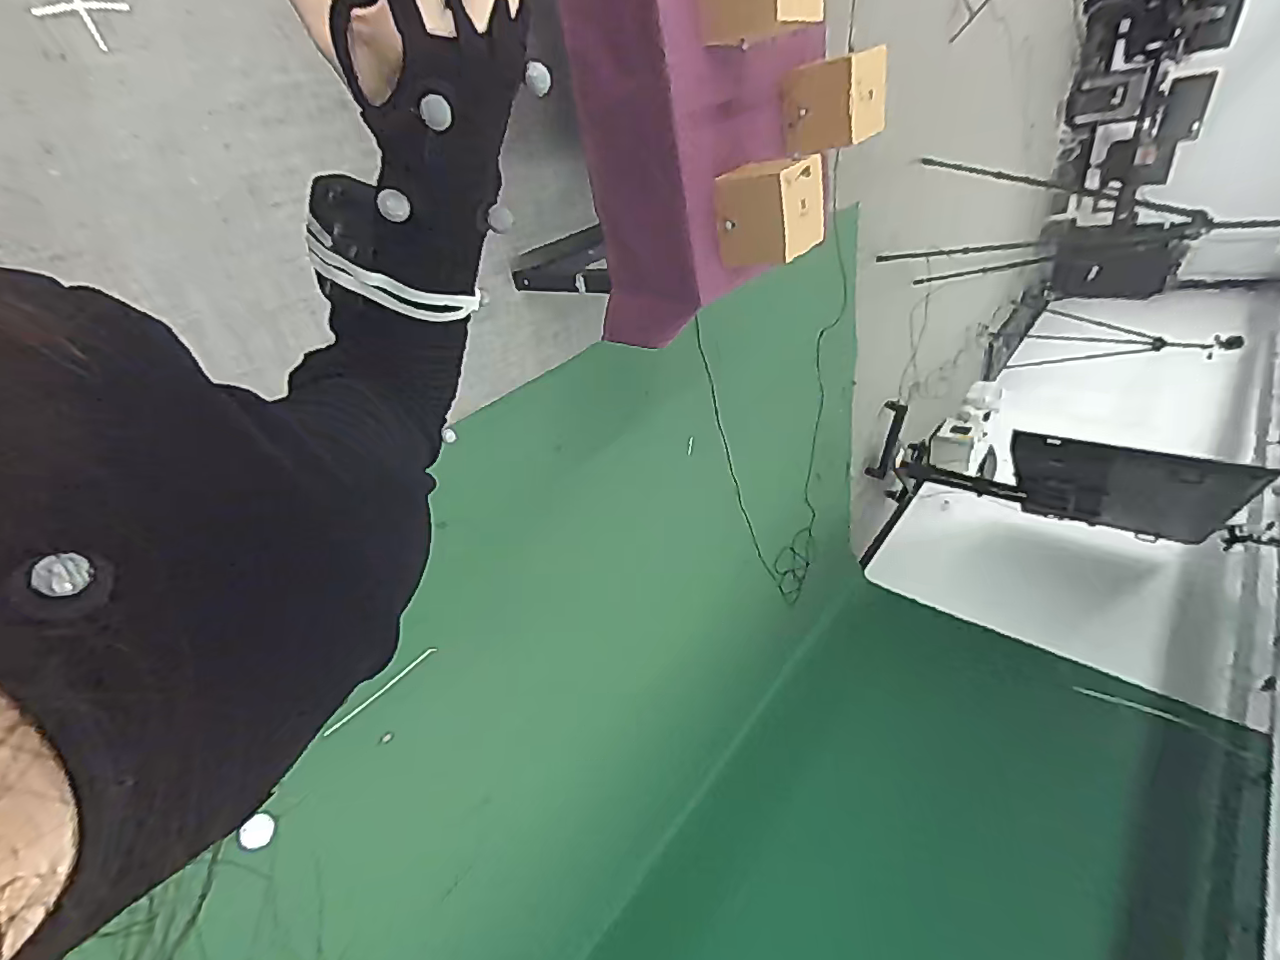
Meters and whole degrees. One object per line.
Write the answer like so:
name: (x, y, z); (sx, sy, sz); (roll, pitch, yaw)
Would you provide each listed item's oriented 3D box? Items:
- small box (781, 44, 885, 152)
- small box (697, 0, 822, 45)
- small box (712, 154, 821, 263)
small box: (0.444, -0.877, 1.248); (0.179, 0.176, 0.168); (-41, 131, -31)
small box: (0.210, -0.913, 0.970); (0.168, 0.176, 0.179); (-36, 130, -34)
small box: (0.275, -0.586, 1.173); (0.168, 0.176, 0.179); (-40, 132, -32)
